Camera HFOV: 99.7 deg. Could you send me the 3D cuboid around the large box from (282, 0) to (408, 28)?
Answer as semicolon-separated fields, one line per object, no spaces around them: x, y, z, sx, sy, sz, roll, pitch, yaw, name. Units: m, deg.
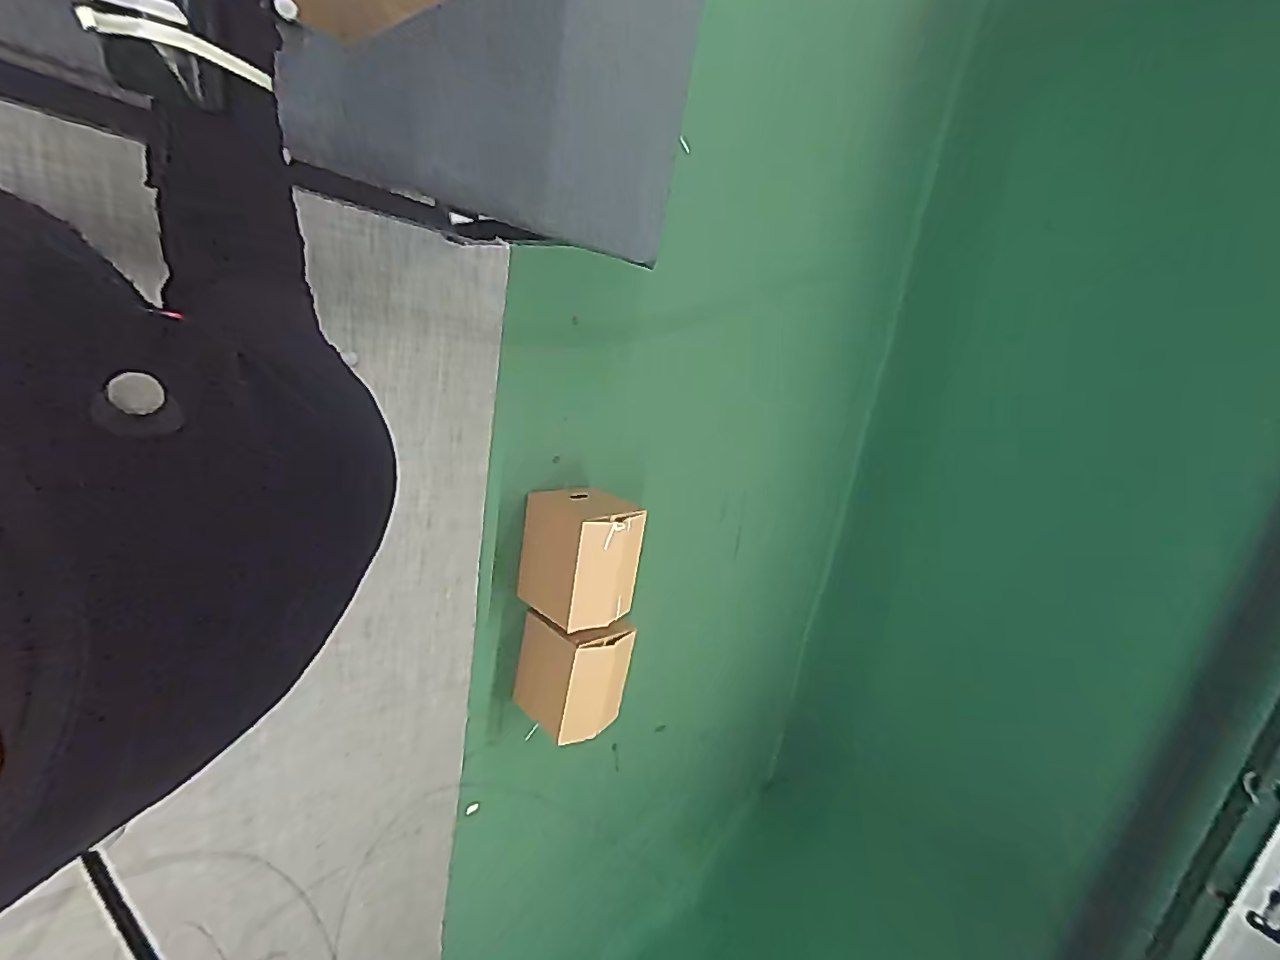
-0.275;-0.613;0.330;0.320;0.320;0.408;-7;113;-48;large box
